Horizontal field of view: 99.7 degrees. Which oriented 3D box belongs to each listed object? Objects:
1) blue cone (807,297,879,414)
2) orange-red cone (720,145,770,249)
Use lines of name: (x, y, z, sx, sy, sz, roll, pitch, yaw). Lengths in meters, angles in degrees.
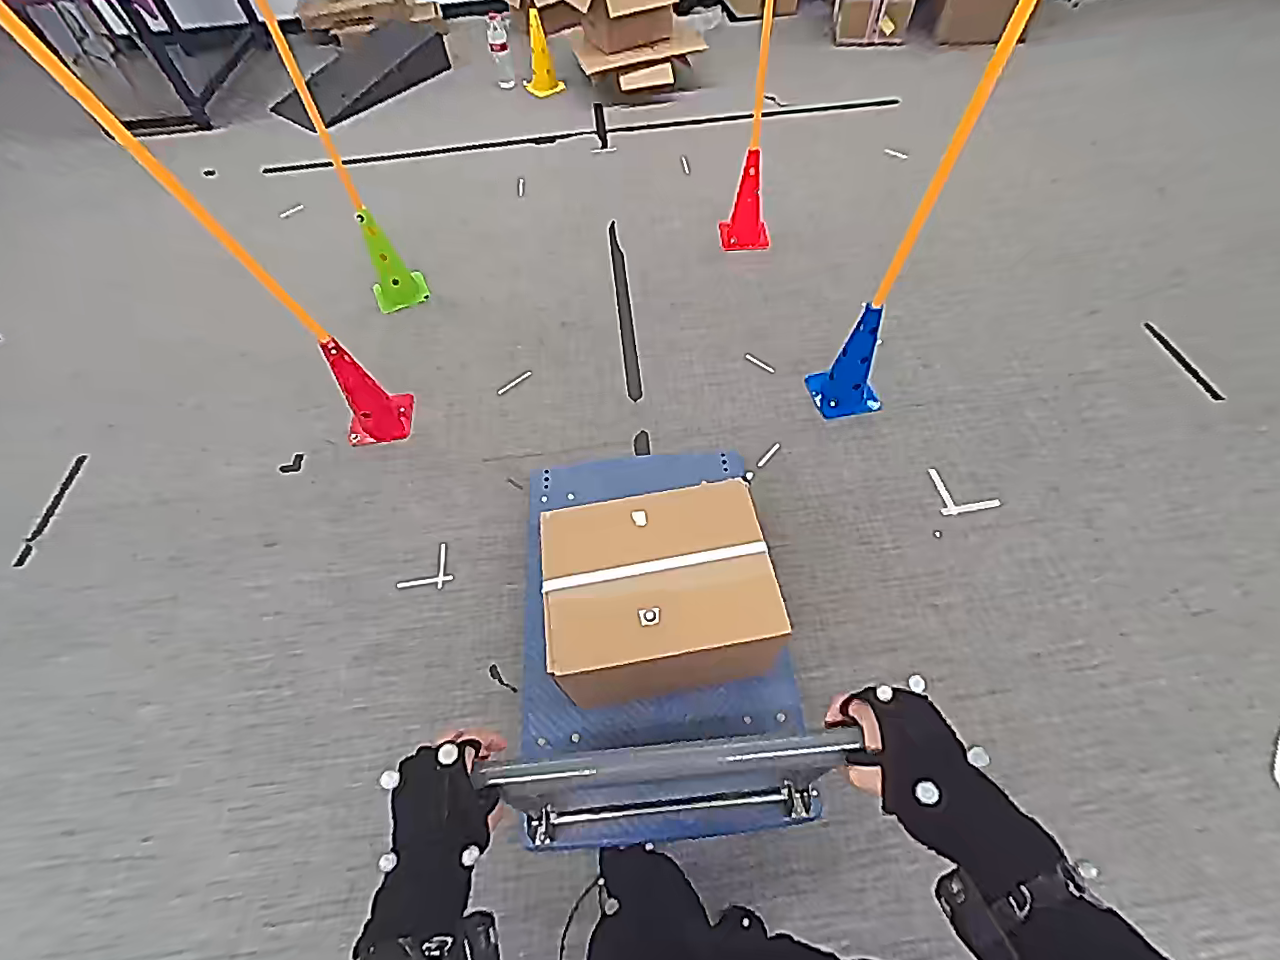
blue cone: (0.664, -0.389, 1.663, 0.193, 0.380, 0.192, -10, 56, -4)
orange-red cone: (0.436, -1.131, 2.139, 0.199, 0.360, 0.198, -1, 58, 1)
